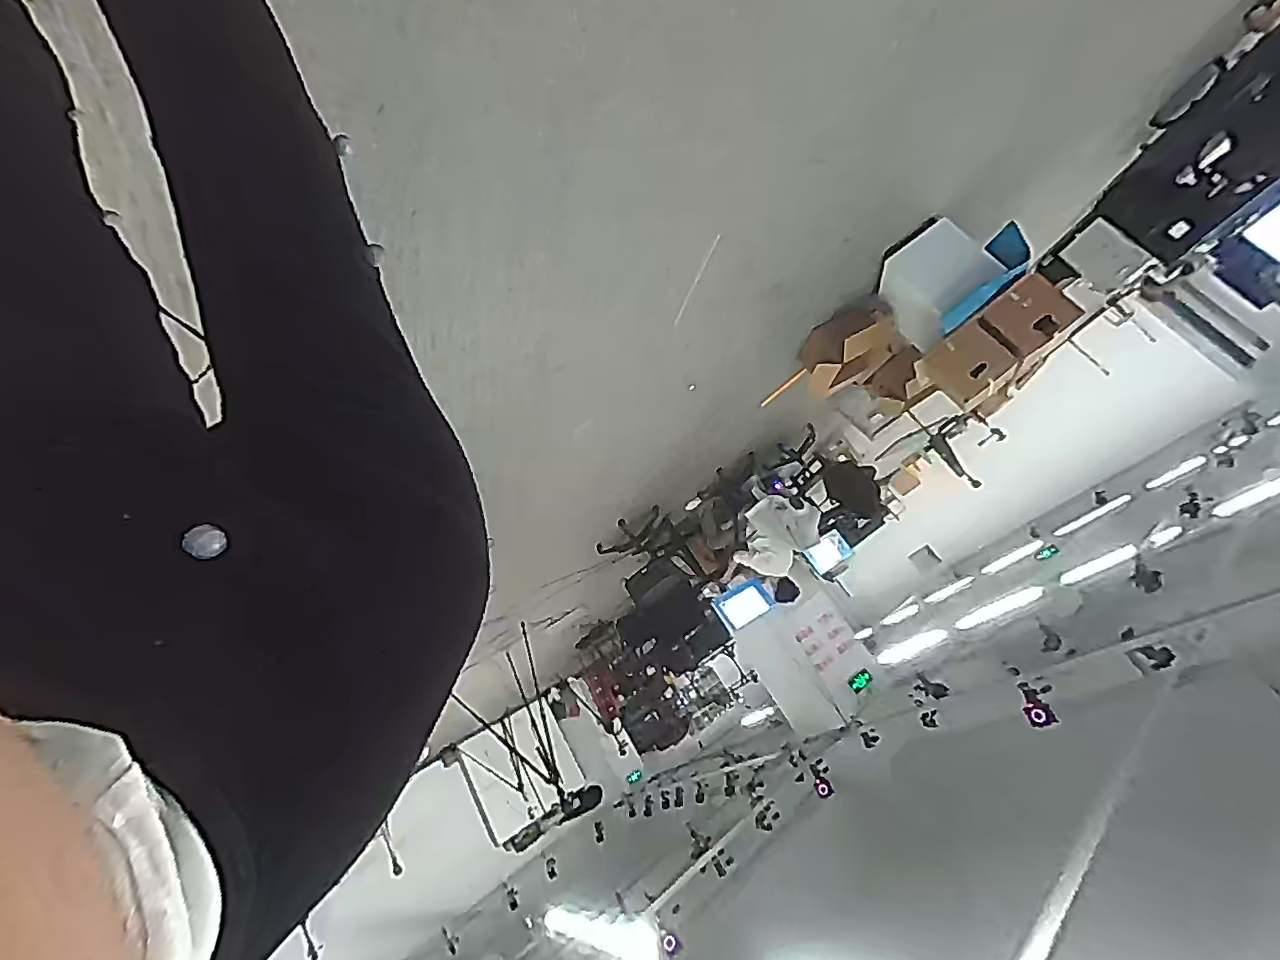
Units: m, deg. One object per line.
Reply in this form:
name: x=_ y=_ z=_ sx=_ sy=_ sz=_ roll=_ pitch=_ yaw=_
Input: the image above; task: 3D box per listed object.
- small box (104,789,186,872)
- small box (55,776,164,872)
small box: x=-1.627 y=1.140 z=1.766 sx=0.168 sy=0.176 sz=0.179 roll=-21 pitch=158 yaw=-36
small box: x=-1.505 y=0.975 z=1.539 sx=0.168 sy=0.176 sz=0.179 roll=-23 pitch=159 yaw=-35
